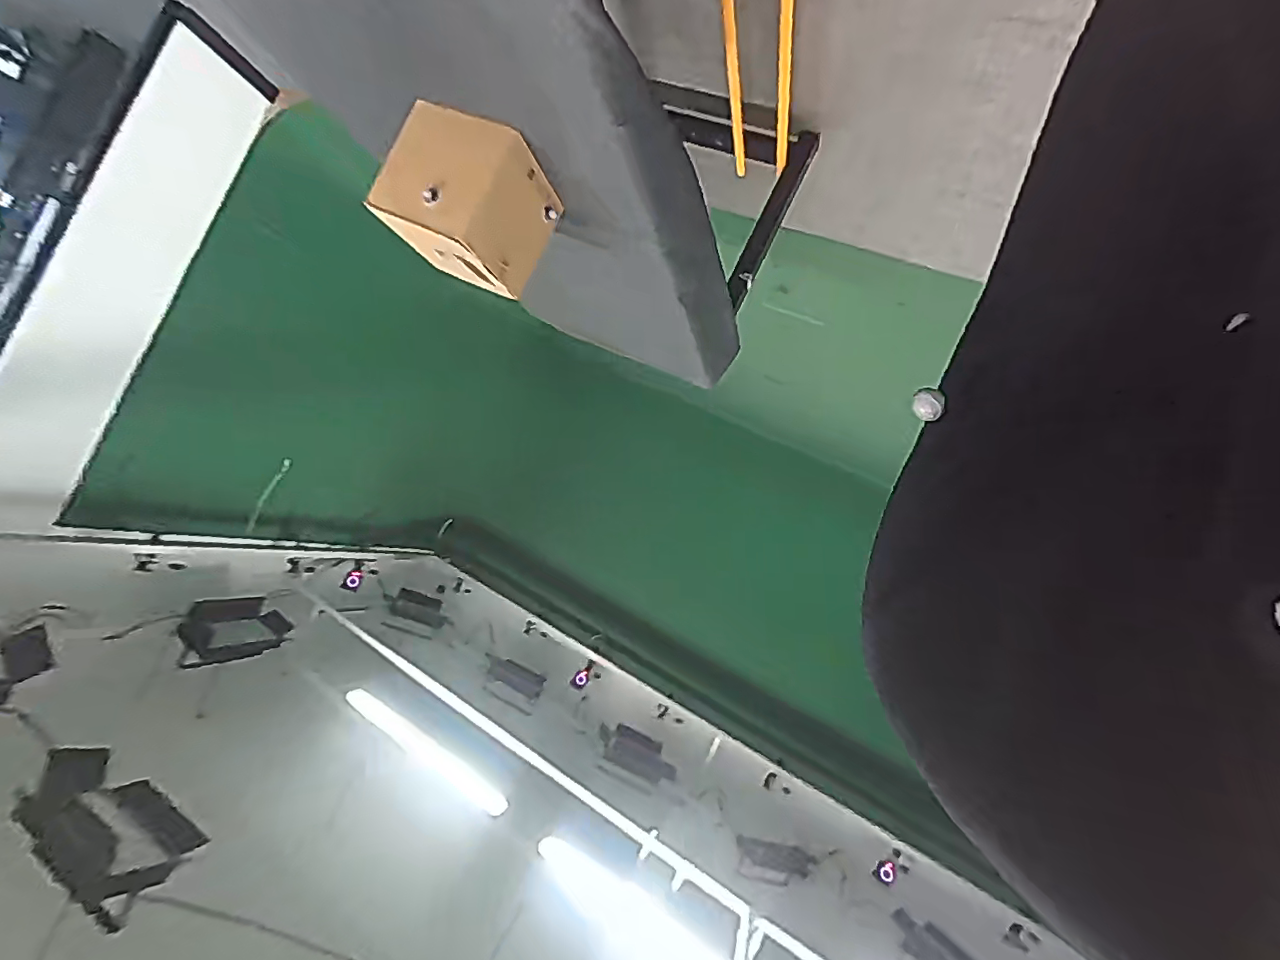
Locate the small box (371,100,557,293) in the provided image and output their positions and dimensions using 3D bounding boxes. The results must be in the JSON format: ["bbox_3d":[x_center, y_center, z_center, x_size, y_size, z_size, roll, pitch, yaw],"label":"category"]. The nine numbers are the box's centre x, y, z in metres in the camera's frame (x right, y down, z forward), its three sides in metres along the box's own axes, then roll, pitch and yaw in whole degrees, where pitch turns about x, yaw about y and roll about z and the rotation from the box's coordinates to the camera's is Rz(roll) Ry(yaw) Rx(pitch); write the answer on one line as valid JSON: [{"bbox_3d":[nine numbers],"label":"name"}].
[{"bbox_3d":[-0.244,-0.413,0.796,0.179,0.176,0.168,27,178,16],"label":"small box"}]
